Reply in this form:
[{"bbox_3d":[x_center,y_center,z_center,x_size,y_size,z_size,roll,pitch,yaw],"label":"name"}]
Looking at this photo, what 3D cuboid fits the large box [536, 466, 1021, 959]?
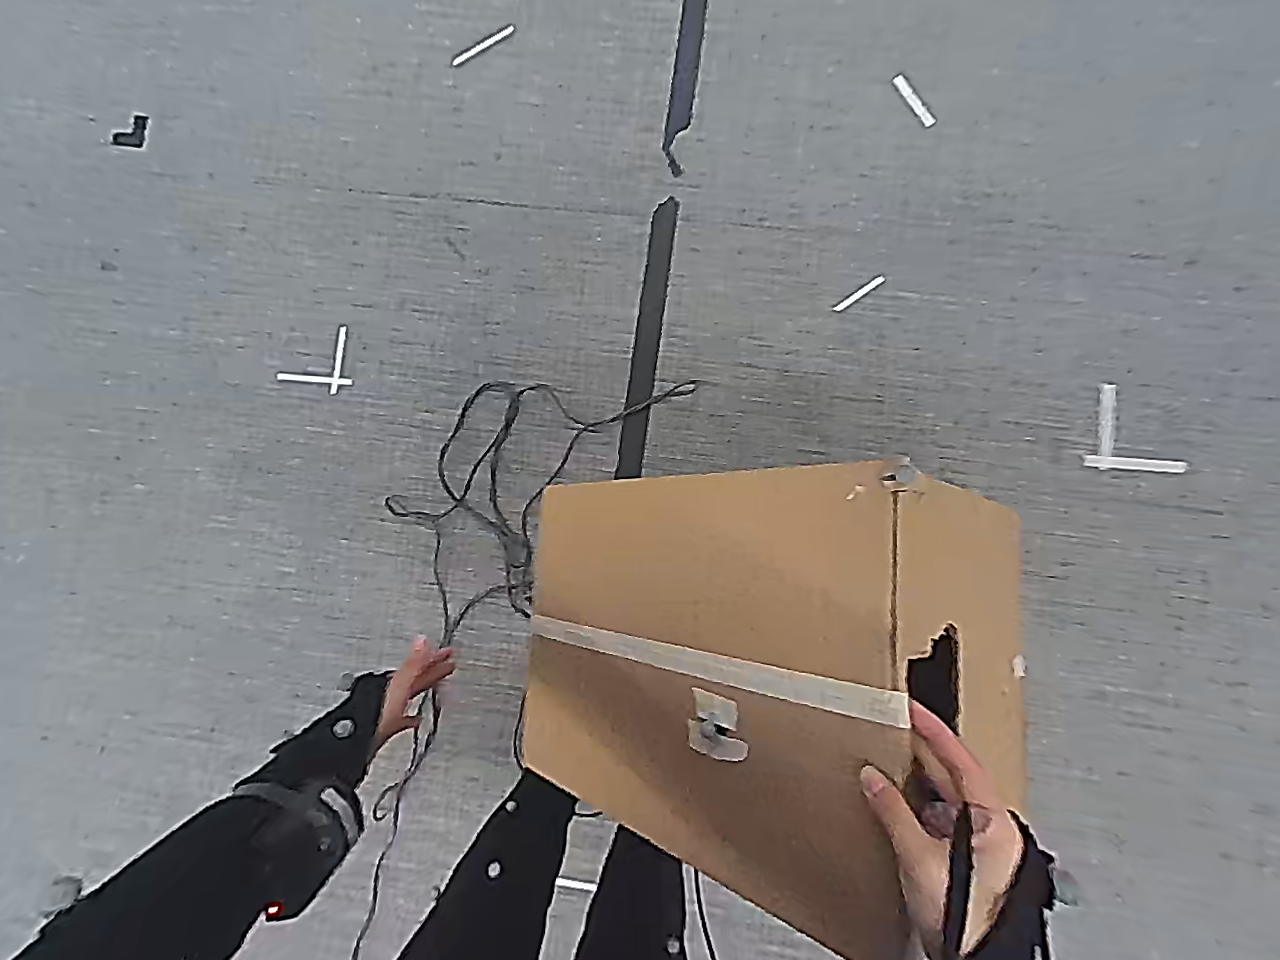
[{"bbox_3d":[0.138,0.178,0.588,0.408,0.320,0.320,-5,79,45],"label":"large box"}]
